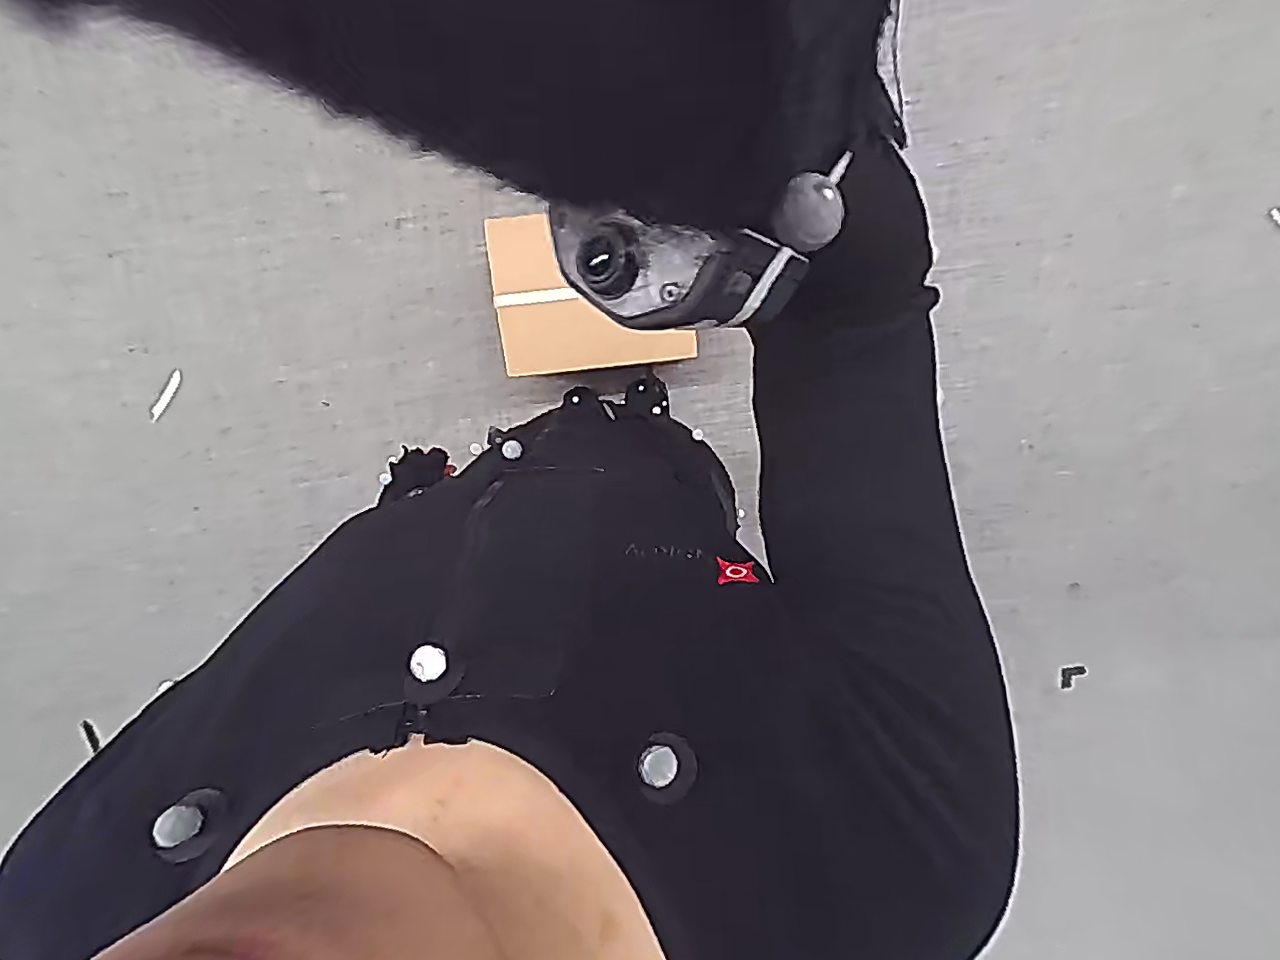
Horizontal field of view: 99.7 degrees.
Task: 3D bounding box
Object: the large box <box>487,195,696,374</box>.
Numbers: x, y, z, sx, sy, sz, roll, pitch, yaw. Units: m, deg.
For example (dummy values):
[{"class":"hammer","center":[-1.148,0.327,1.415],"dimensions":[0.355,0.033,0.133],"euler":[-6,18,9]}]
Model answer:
[{"class":"large box","center":[-0.098,-0.428,1.260],"dimensions":[0.408,0.320,0.320],"euler":[-7,102,1]}]
